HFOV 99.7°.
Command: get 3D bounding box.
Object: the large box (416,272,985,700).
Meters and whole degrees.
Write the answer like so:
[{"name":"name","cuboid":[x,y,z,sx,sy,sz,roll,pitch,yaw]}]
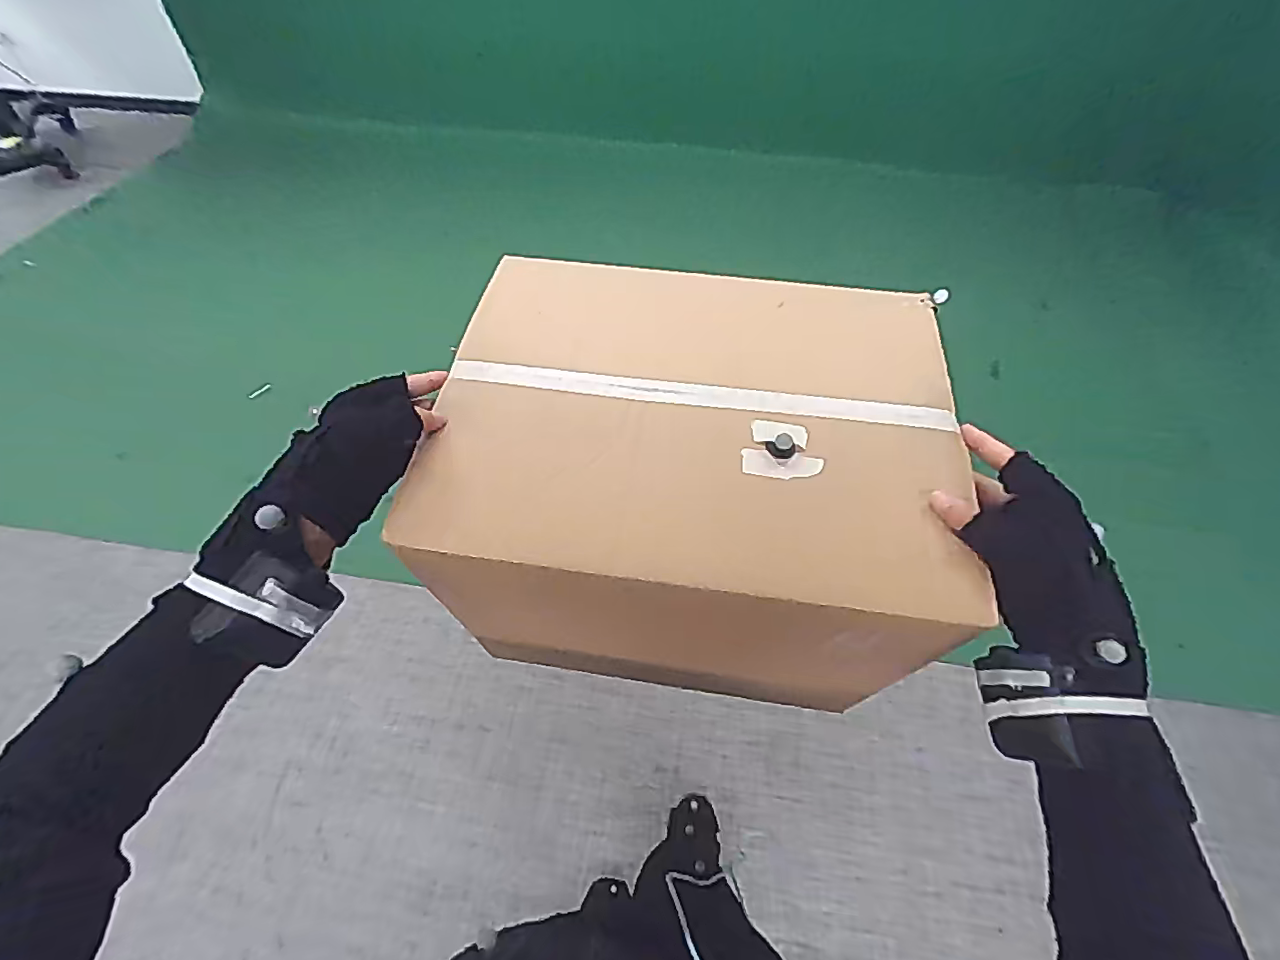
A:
[{"name":"large box","cuboid":[0.051,0.020,0.575,0.408,0.320,0.320,7,59,4]}]
